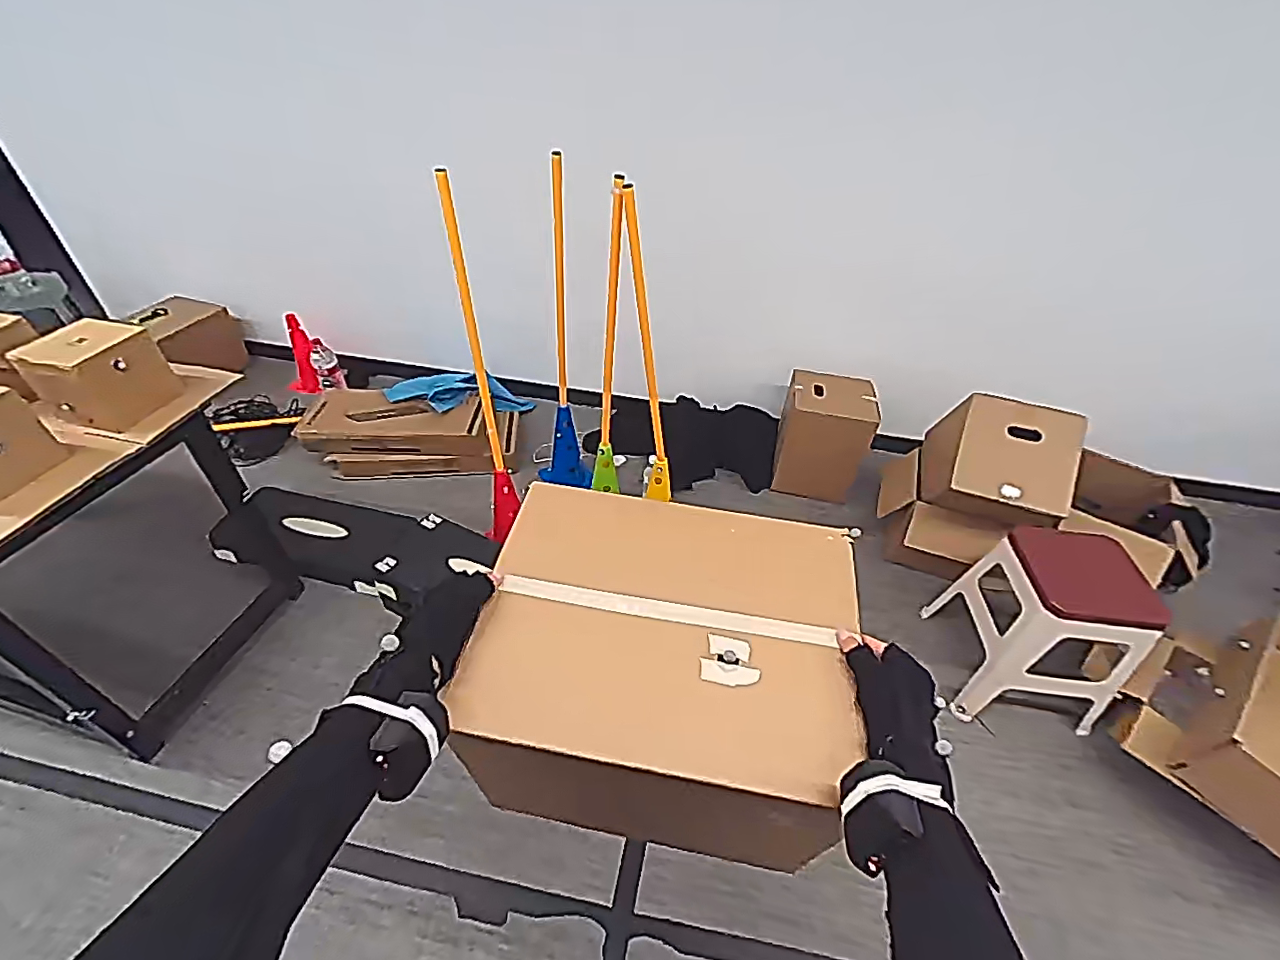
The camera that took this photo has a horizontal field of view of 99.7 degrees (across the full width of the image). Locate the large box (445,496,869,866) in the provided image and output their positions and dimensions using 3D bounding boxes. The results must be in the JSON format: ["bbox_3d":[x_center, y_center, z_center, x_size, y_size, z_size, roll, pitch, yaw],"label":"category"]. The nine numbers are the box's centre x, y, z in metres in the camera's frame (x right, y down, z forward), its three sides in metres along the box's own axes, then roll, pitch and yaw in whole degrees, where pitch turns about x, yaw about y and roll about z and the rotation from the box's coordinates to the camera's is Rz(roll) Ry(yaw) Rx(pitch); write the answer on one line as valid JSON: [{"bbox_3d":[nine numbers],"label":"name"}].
[{"bbox_3d":[0.025,0.257,0.702,0.408,0.320,0.320,9,47,5],"label":"large box"}]
